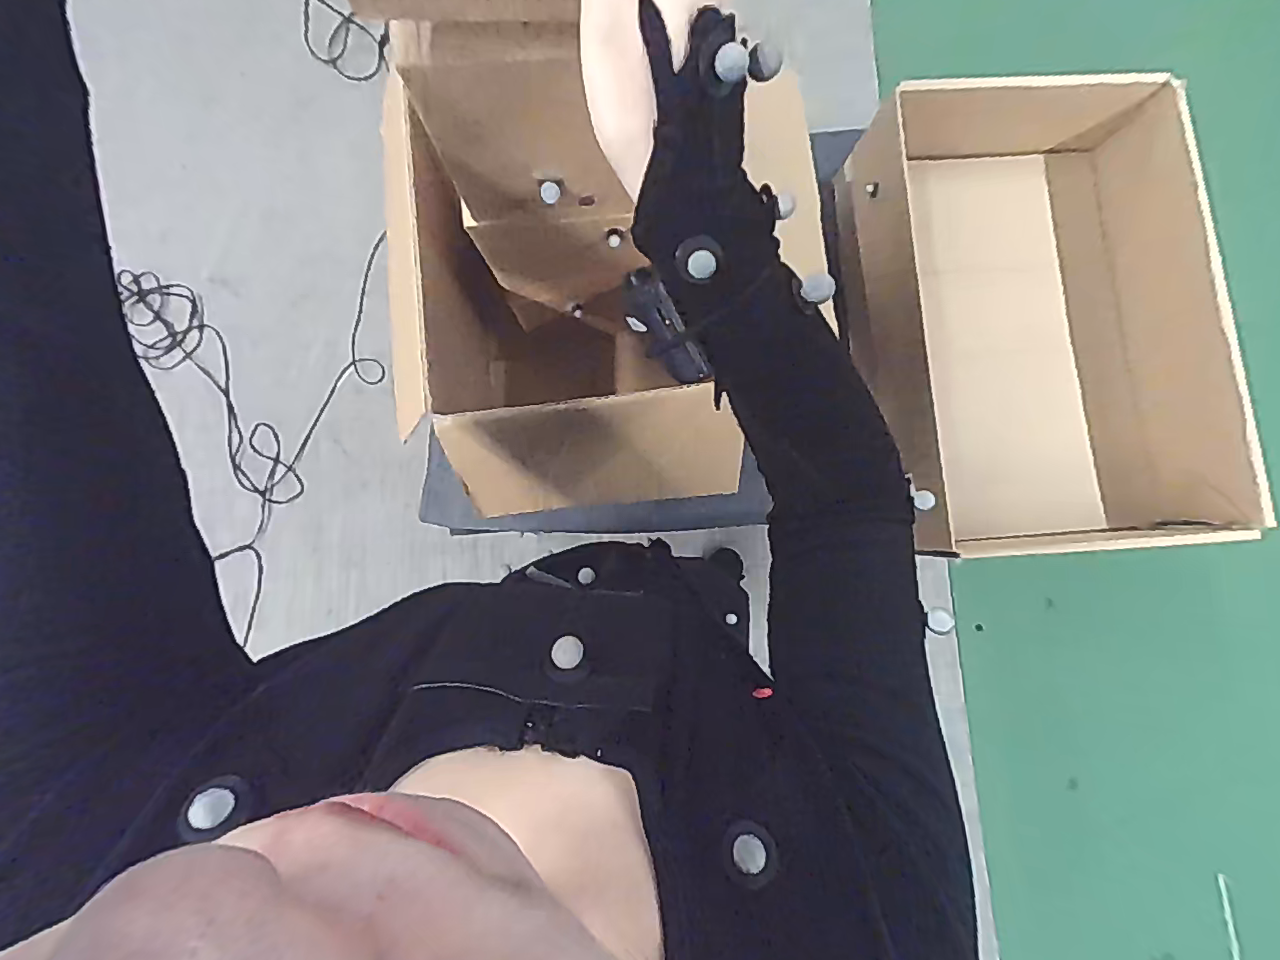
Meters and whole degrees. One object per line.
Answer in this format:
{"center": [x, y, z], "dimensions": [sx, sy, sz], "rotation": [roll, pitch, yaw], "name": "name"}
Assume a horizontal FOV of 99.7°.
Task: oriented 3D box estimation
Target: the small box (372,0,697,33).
{"center": [-0.057, -0.323, 0.214], "dimensions": [0.179, 0.176, 0.168], "rotation": [-1, 90, -1], "name": "small box"}

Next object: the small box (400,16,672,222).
{"center": [-0.070, -0.327, 0.413], "dimensions": [0.168, 0.176, 0.179], "rotation": [-4, 87, -2], "name": "small box"}
